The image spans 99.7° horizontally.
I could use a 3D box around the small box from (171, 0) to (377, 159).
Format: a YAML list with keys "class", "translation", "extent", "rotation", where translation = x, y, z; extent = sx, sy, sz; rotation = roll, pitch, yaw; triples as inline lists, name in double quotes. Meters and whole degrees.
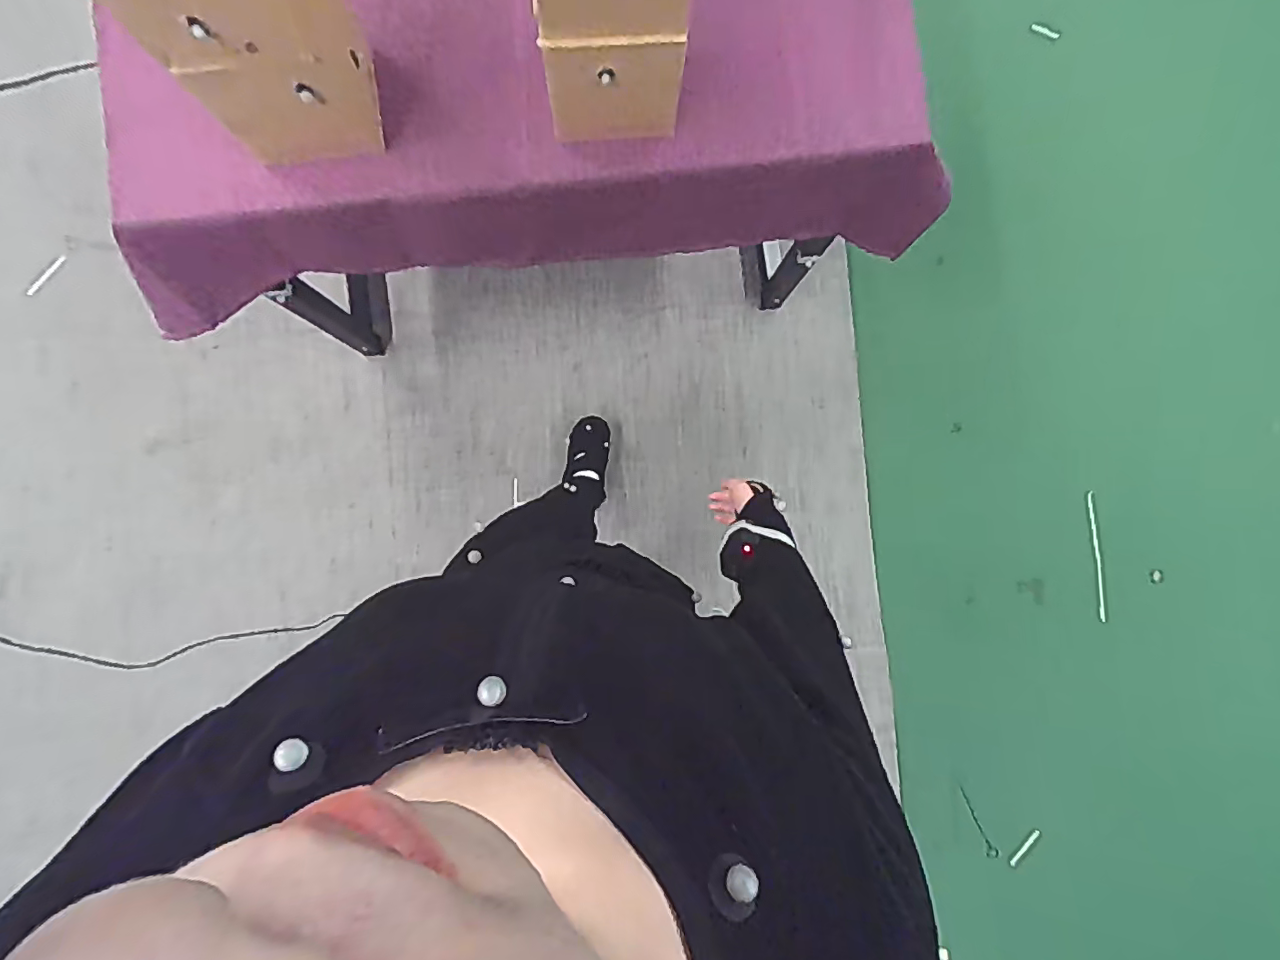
- class: "small box"
  translation: [-0.463, -0.553, 0.705]
  extent: [0.179, 0.176, 0.168]
  rotation: [-8, 87, -4]

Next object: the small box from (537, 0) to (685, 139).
- class: "small box"
  translation: [-0.041, -0.592, 0.729]
  extent: [0.179, 0.176, 0.168]
  rotation: [-5, 88, -4]

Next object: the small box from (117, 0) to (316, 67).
- class: "small box"
  translation: [-0.457, -0.566, 0.542]
  extent: [0.168, 0.176, 0.179]
  rotation: [-8, 88, -4]
